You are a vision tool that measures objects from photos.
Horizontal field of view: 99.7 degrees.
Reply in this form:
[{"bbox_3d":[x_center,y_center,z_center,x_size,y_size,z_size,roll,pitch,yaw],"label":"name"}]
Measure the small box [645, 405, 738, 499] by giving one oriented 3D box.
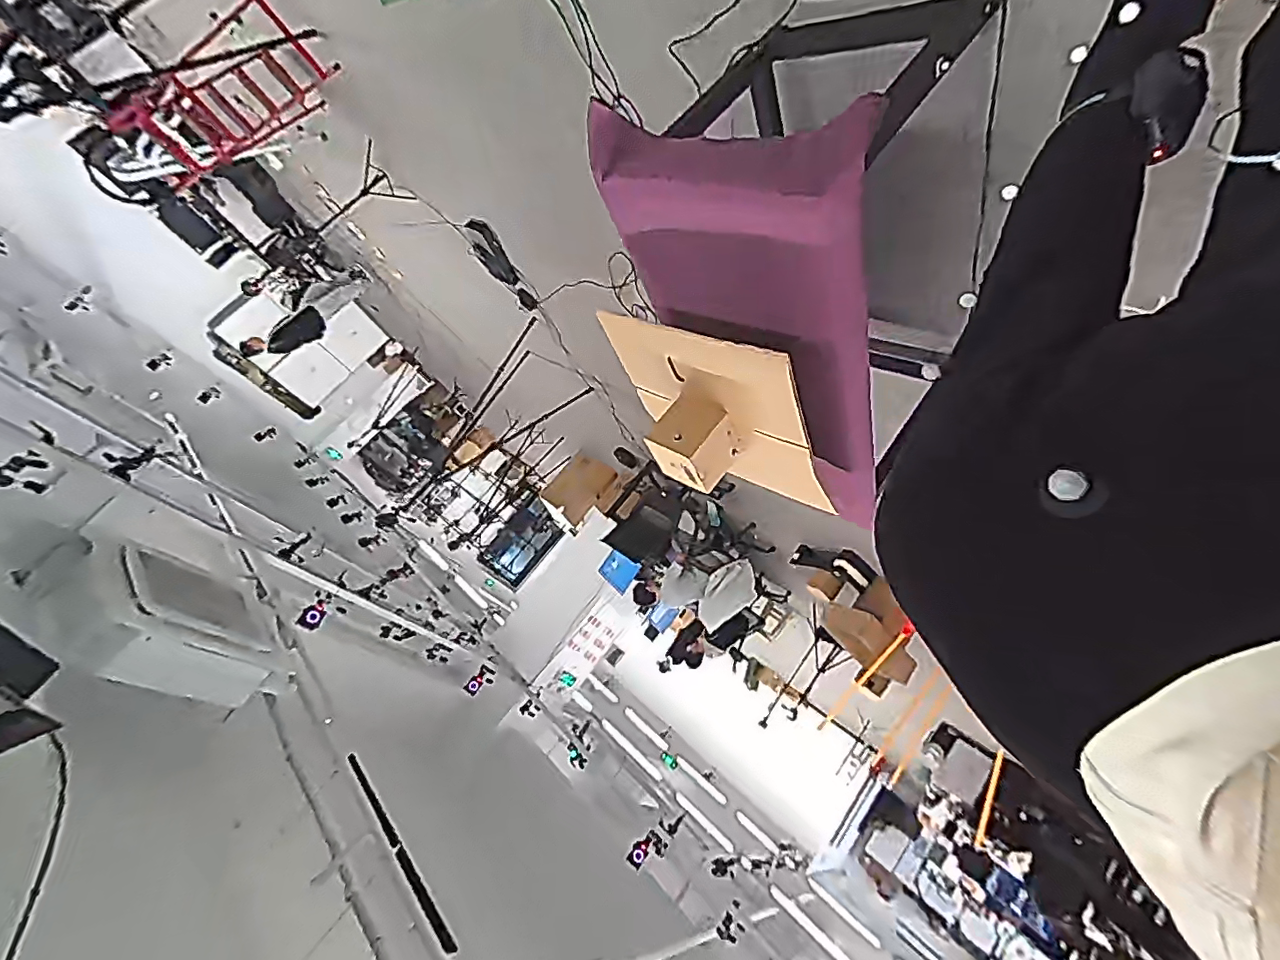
[{"bbox_3d":[0.151,-0.083,1.485,0.179,0.176,0.168,27,160,40],"label":"small box"}]
